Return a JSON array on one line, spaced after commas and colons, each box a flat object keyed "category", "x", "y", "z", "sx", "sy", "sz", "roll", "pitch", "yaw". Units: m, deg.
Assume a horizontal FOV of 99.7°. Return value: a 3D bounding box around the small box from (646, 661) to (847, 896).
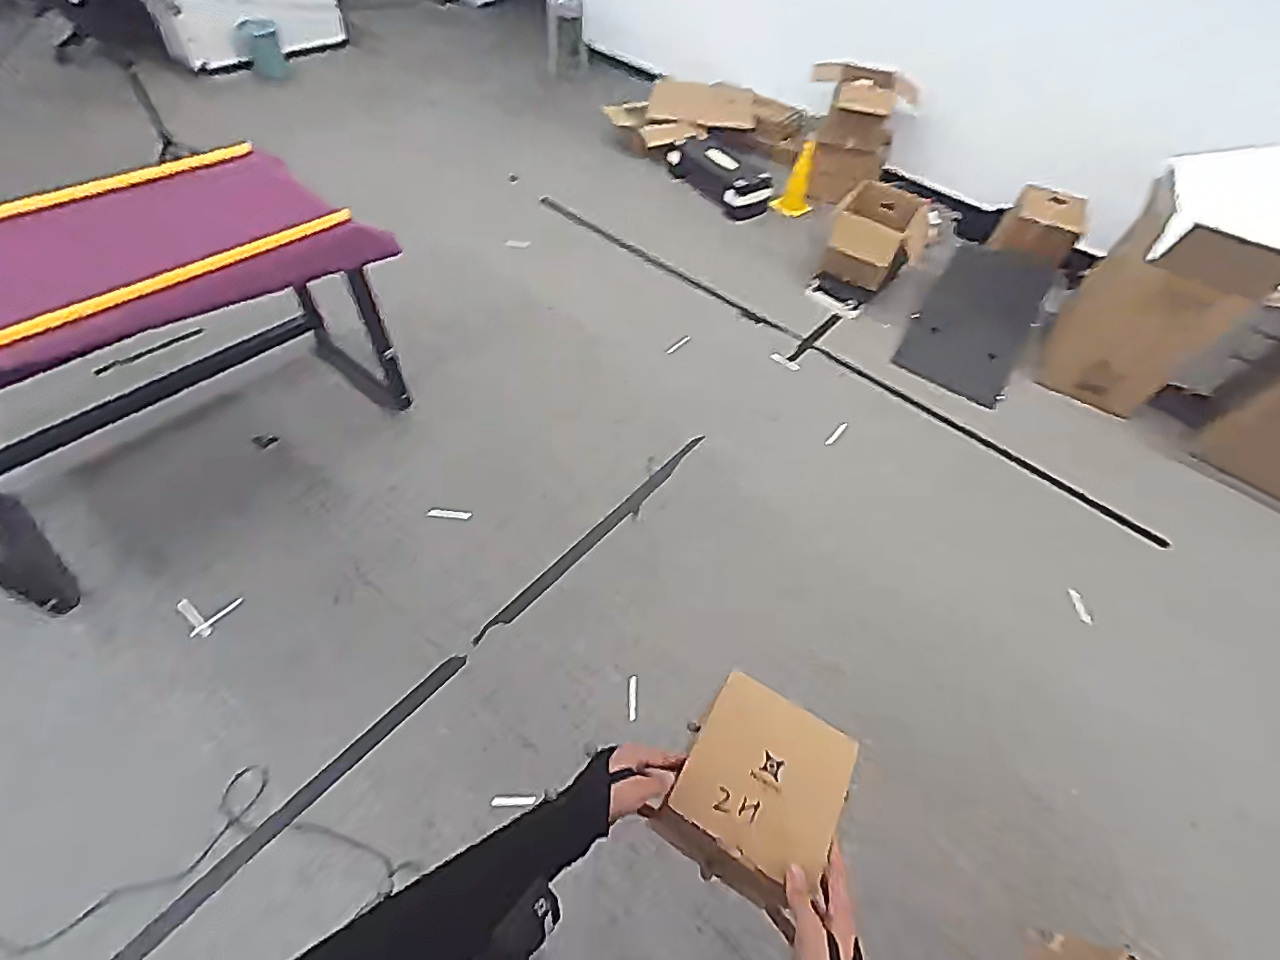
[{"category": "small box", "x": 0.119, "y": 0.361, "z": 0.656, "sx": 0.168, "sy": 0.176, "sz": 0.179, "roll": 28, "pitch": 53, "yaw": 14}]
